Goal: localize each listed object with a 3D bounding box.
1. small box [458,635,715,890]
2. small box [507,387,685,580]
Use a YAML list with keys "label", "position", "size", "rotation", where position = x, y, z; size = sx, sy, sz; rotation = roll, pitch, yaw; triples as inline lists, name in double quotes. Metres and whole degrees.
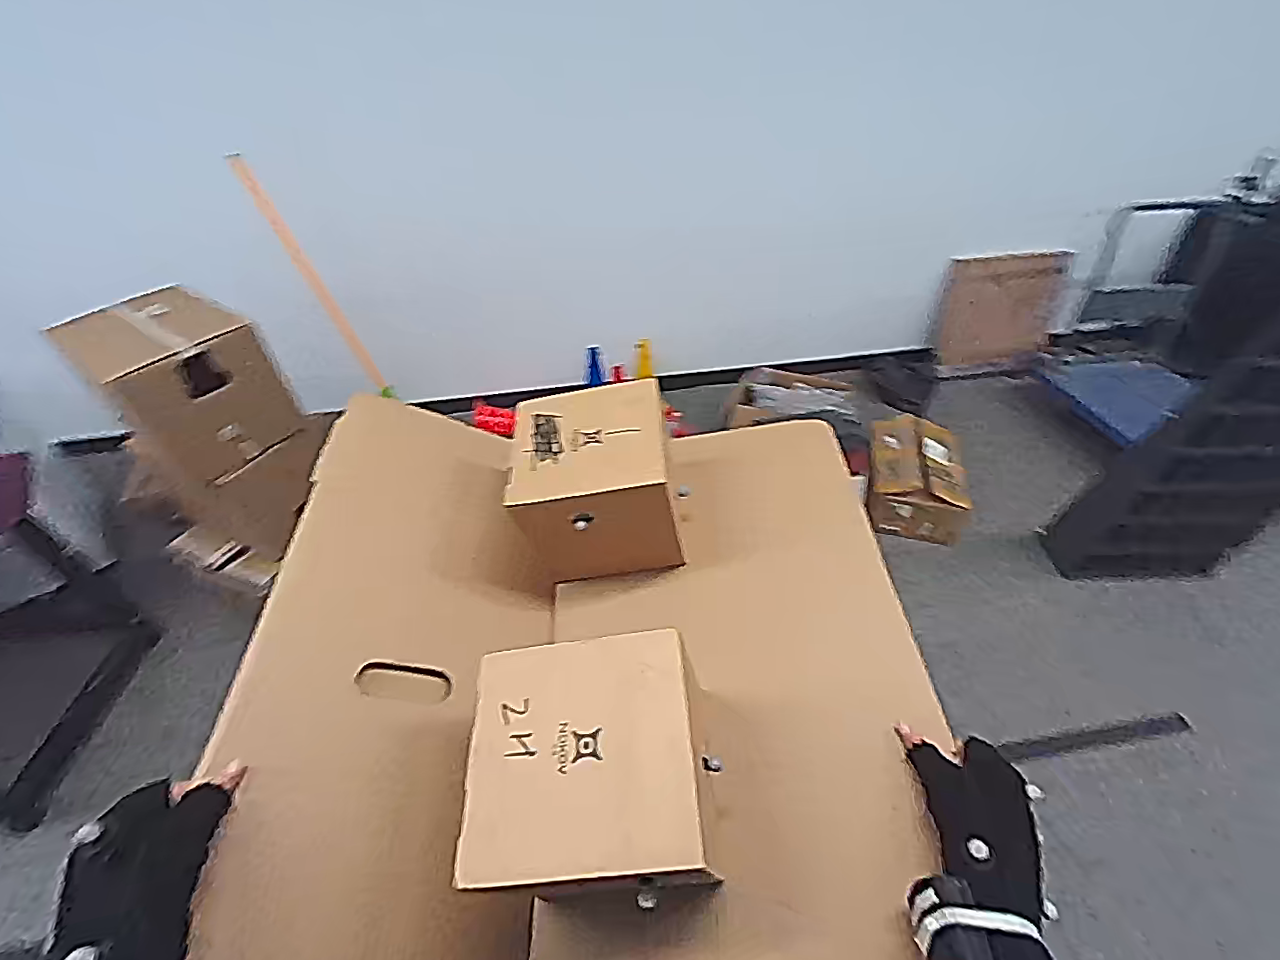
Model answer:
- label: "small box"
  position: [-0.031, 0.255, 0.478]
  size: [0.179, 0.176, 0.168]
  rotation: [-9, 50, 8]
- label: "small box"
  position: [-0.045, 0.011, 0.680]
  size: [0.179, 0.176, 0.168]
  rotation: [-9, 50, 7]
